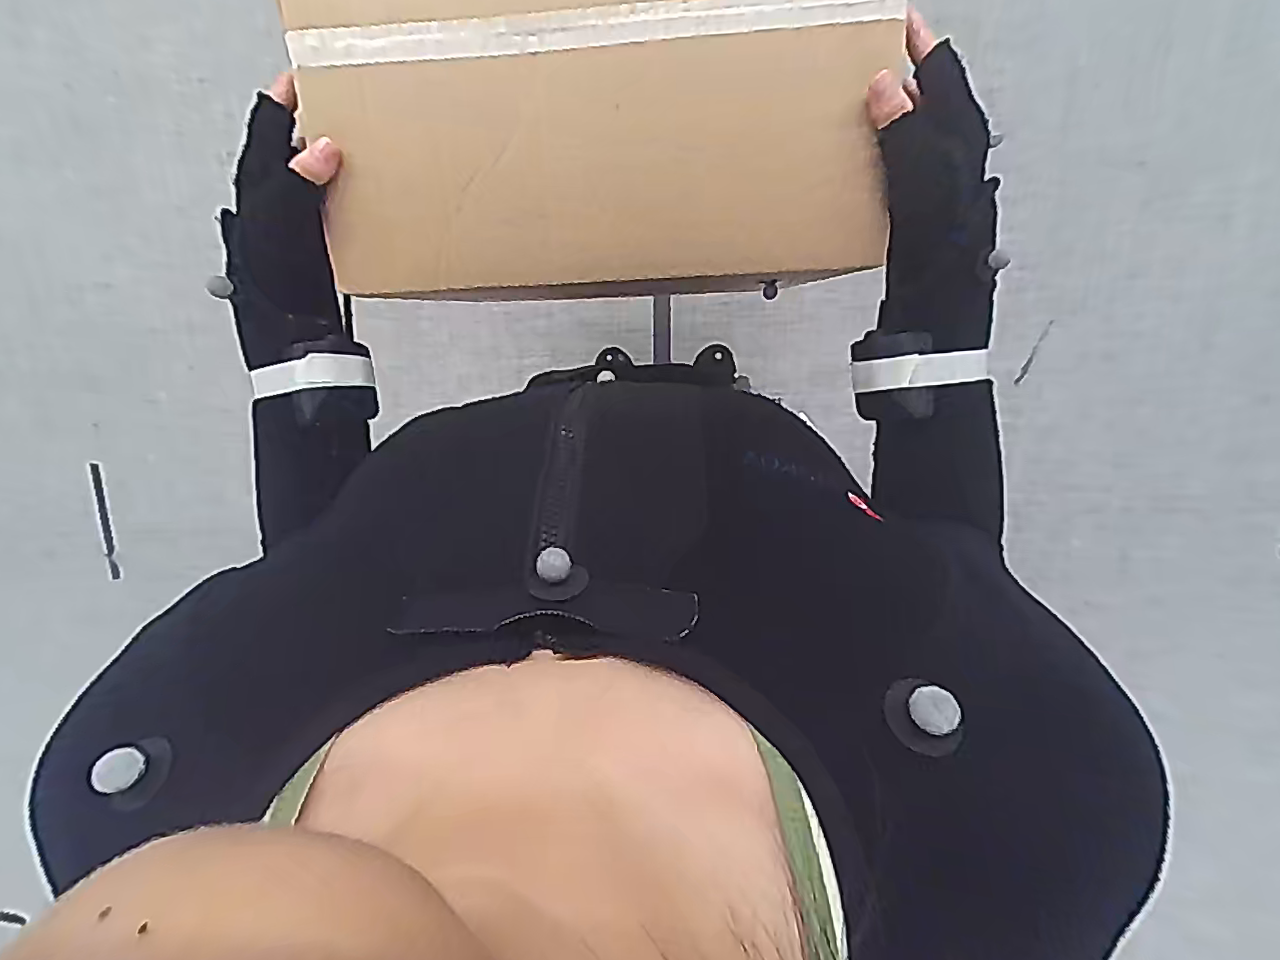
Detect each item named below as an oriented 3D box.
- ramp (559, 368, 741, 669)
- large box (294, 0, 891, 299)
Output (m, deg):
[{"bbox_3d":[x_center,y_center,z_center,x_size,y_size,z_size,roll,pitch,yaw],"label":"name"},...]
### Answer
[{"bbox_3d":[0.043,0.167,1.621,0.509,0.206,0.991,-3,102,2],"label":"ramp"},{"bbox_3d":[-0.027,-0.342,0.505,0.408,0.320,0.320,-2,107,2],"label":"large box"}]
